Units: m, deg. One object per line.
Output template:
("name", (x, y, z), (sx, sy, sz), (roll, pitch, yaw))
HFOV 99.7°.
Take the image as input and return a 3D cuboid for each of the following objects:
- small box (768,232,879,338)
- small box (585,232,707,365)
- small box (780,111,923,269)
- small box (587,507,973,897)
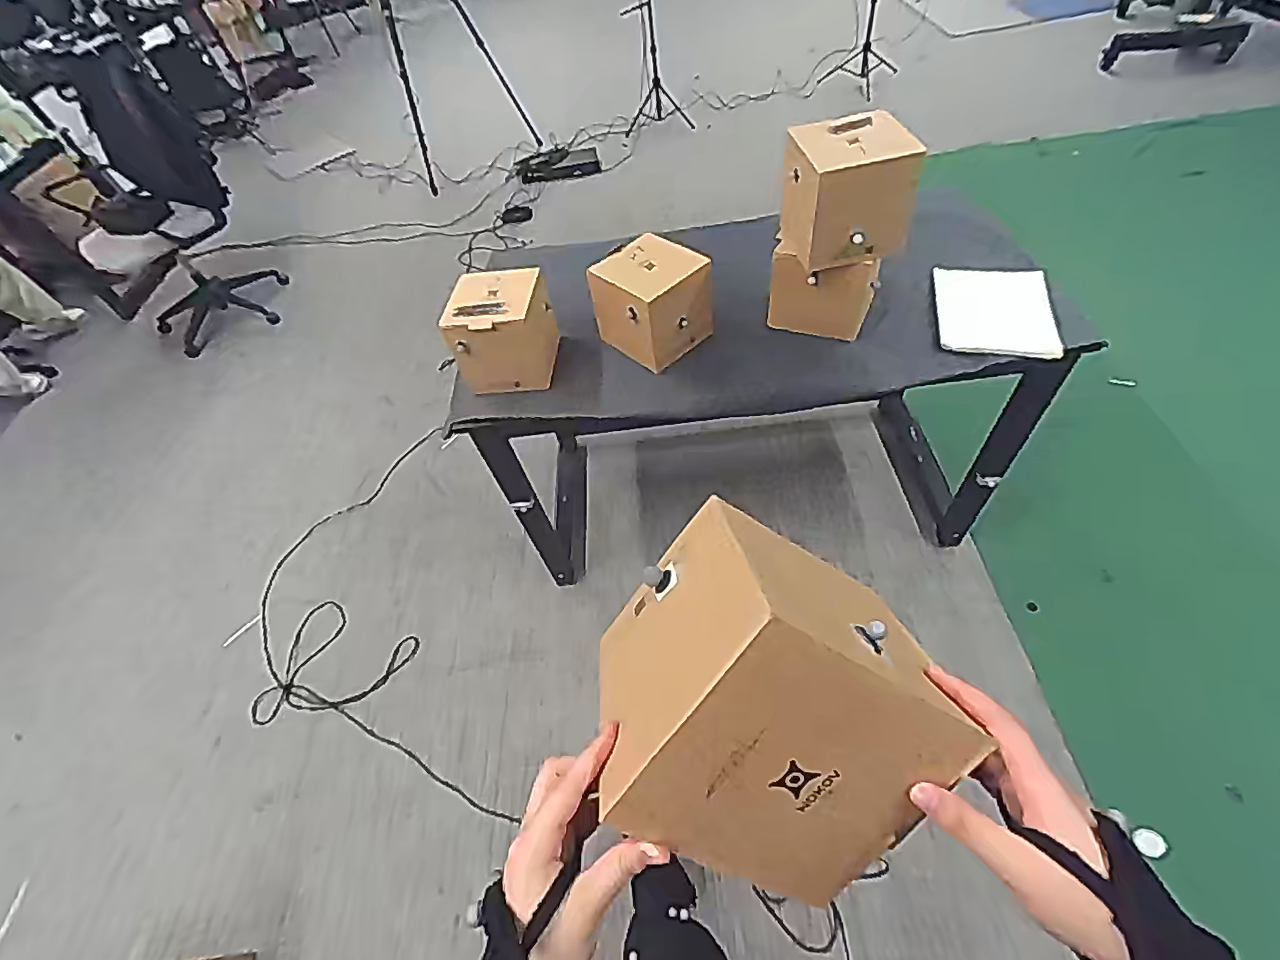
("small box", (0.361, -0.401, 1.055), (0.179, 0.176, 0.168), (18, 58, 22))
("small box", (0.020, -0.354, 1.074), (0.168, 0.176, 0.179), (-39, 57, -20))
("small box", (0.342, -0.488, 0.916), (0.168, 0.176, 0.179), (-11, 52, 3))
("small box", (0.078, 0.144, 0.393), (0.179, 0.168, 0.176), (30, 15, -13))
